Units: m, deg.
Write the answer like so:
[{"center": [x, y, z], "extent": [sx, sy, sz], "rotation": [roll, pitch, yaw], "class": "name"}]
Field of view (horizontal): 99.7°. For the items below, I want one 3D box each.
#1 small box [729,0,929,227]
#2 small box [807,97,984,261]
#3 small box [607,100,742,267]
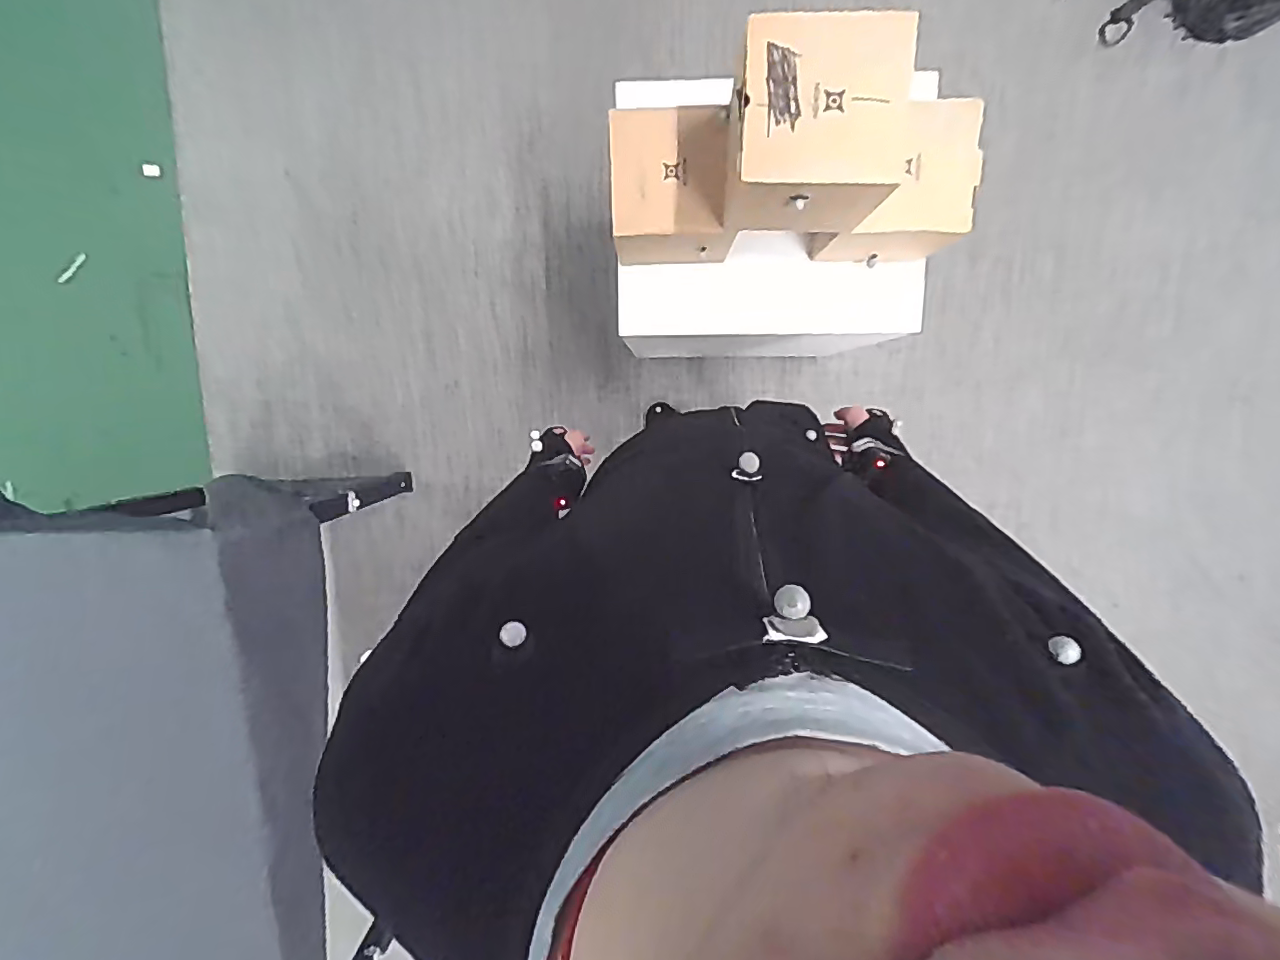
[{"center": [0.201, -0.405, 0.627], "extent": [0.179, 0.176, 0.168], "rotation": [0, 98, 0], "class": "small box"}, {"center": [0.358, -0.426, 0.789], "extent": [0.179, 0.176, 0.168], "rotation": [0, 98, 2], "class": "small box"}, {"center": [0.045, -0.420, 0.791], "extent": [0.179, 0.176, 0.168], "rotation": [-3, 97, 1], "class": "small box"}]
